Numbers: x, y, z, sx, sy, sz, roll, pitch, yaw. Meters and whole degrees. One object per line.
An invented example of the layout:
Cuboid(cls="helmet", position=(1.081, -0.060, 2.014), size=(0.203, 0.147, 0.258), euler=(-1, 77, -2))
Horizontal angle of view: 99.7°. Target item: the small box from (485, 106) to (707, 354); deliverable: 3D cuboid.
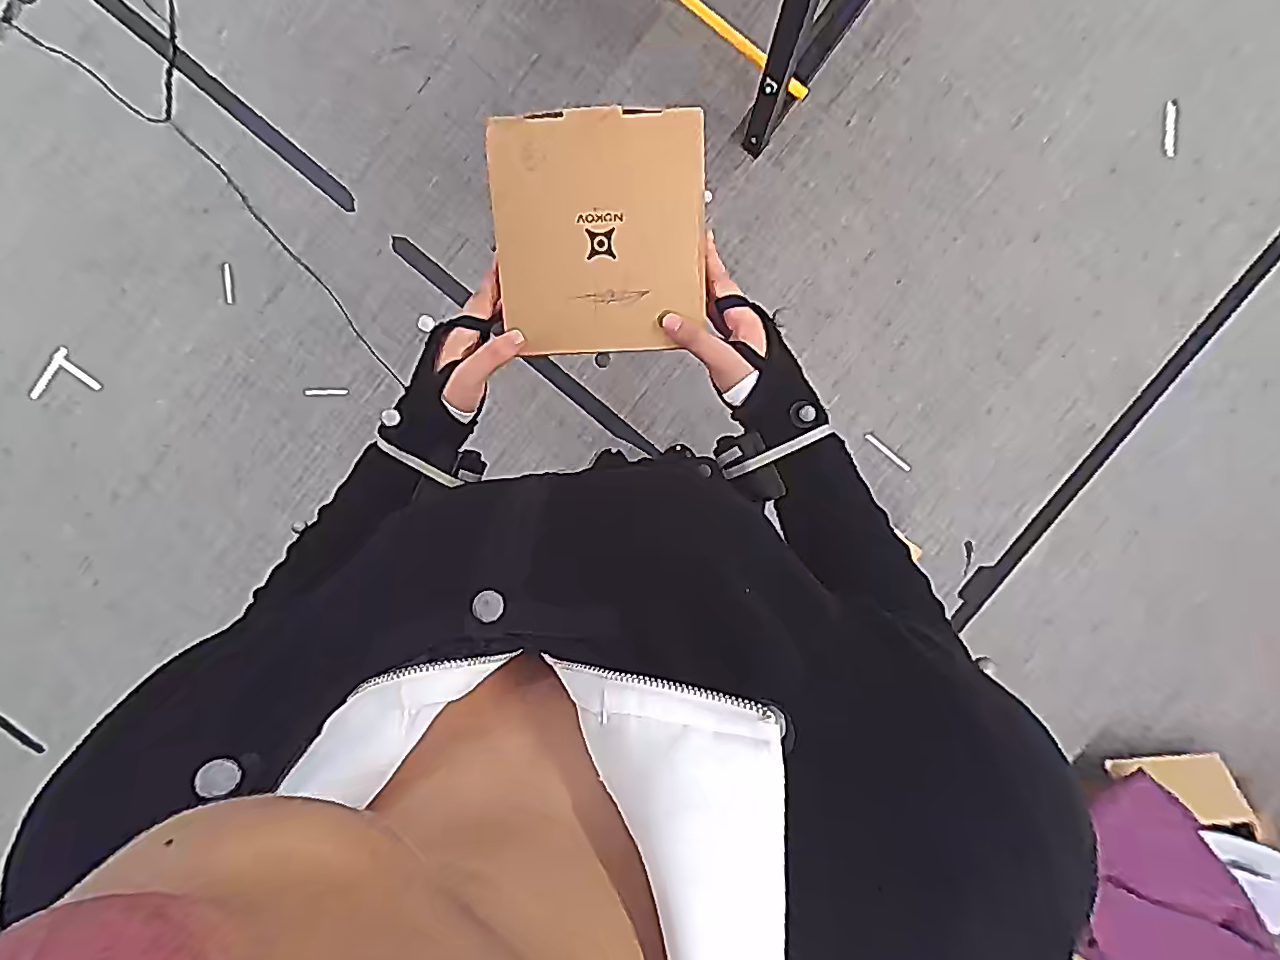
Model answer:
Cuboid(cls="small box", position=(-0.032, -0.207, 0.492), size=(0.168, 0.176, 0.179), euler=(-2, 105, 0))
